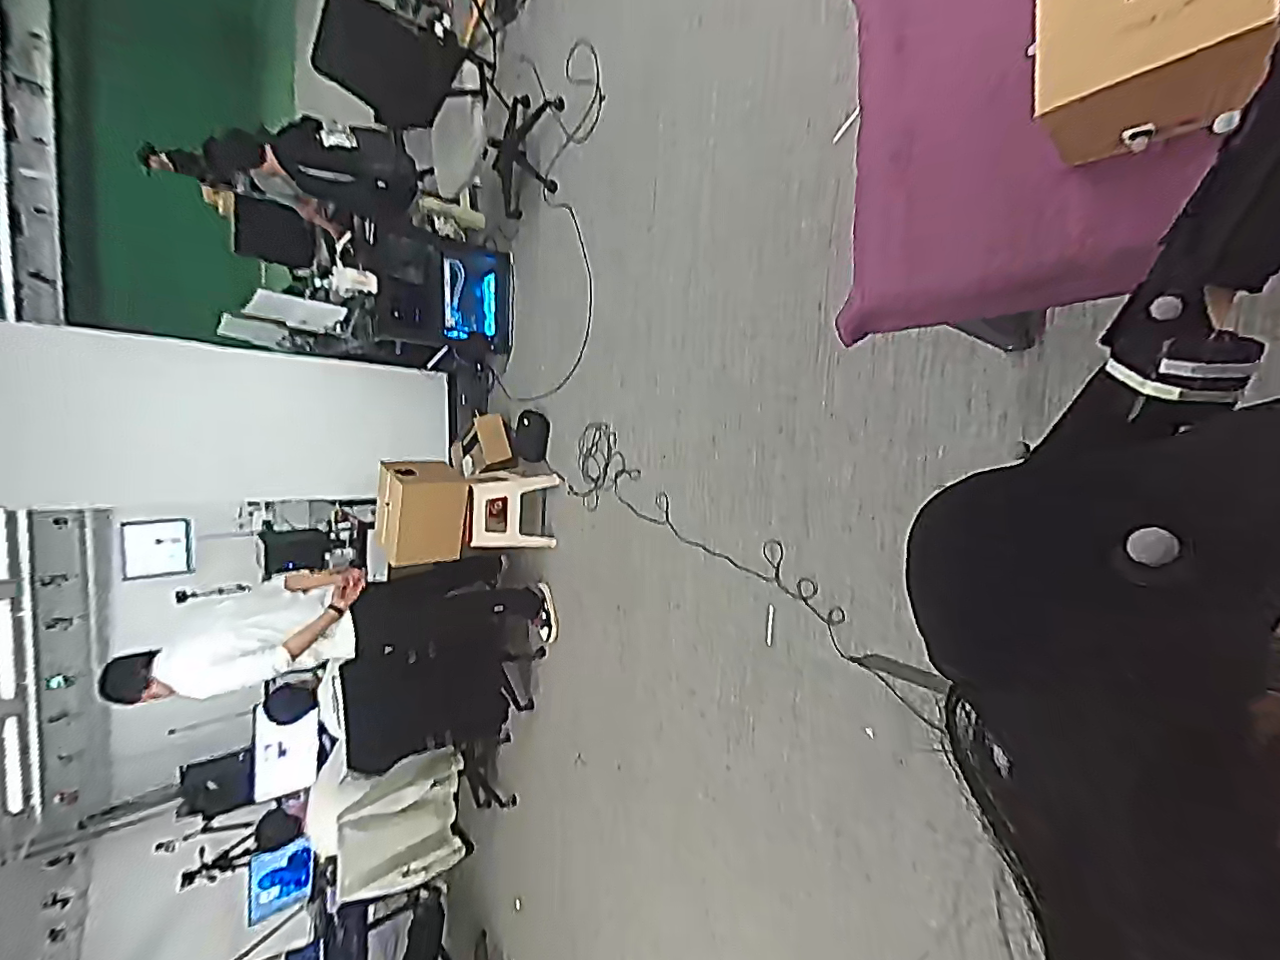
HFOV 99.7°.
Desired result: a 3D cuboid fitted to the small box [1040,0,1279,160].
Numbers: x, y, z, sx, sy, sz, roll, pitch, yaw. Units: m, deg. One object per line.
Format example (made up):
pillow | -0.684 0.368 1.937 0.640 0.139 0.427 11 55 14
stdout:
small box | 0.518 -0.461 0.536 0.168 0.176 0.179 0 93 50
